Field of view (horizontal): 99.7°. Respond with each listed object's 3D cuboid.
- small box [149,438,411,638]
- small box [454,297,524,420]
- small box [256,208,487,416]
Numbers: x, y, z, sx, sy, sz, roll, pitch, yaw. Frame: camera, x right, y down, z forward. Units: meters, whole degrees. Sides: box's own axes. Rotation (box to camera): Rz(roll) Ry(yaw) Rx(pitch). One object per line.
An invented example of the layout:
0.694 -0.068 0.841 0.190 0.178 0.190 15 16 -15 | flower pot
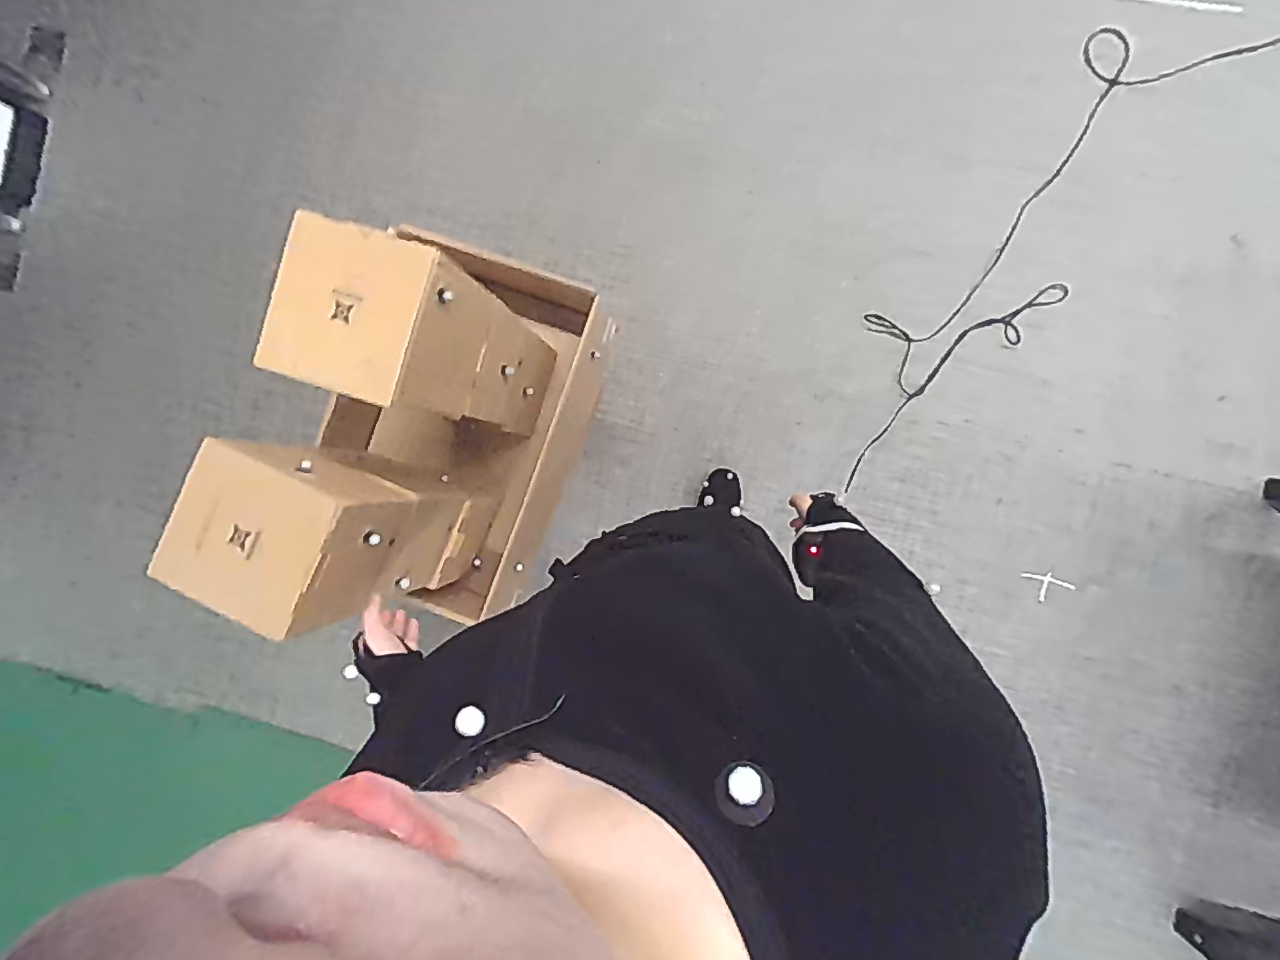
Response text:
-0.418 0.061 0.660 0.179 0.176 0.168 25 91 5 | small box
-0.293 -0.193 0.814 0.179 0.176 0.168 17 92 3 | small box
-0.305 -0.185 0.651 0.168 0.176 0.179 18 92 5 | small box
